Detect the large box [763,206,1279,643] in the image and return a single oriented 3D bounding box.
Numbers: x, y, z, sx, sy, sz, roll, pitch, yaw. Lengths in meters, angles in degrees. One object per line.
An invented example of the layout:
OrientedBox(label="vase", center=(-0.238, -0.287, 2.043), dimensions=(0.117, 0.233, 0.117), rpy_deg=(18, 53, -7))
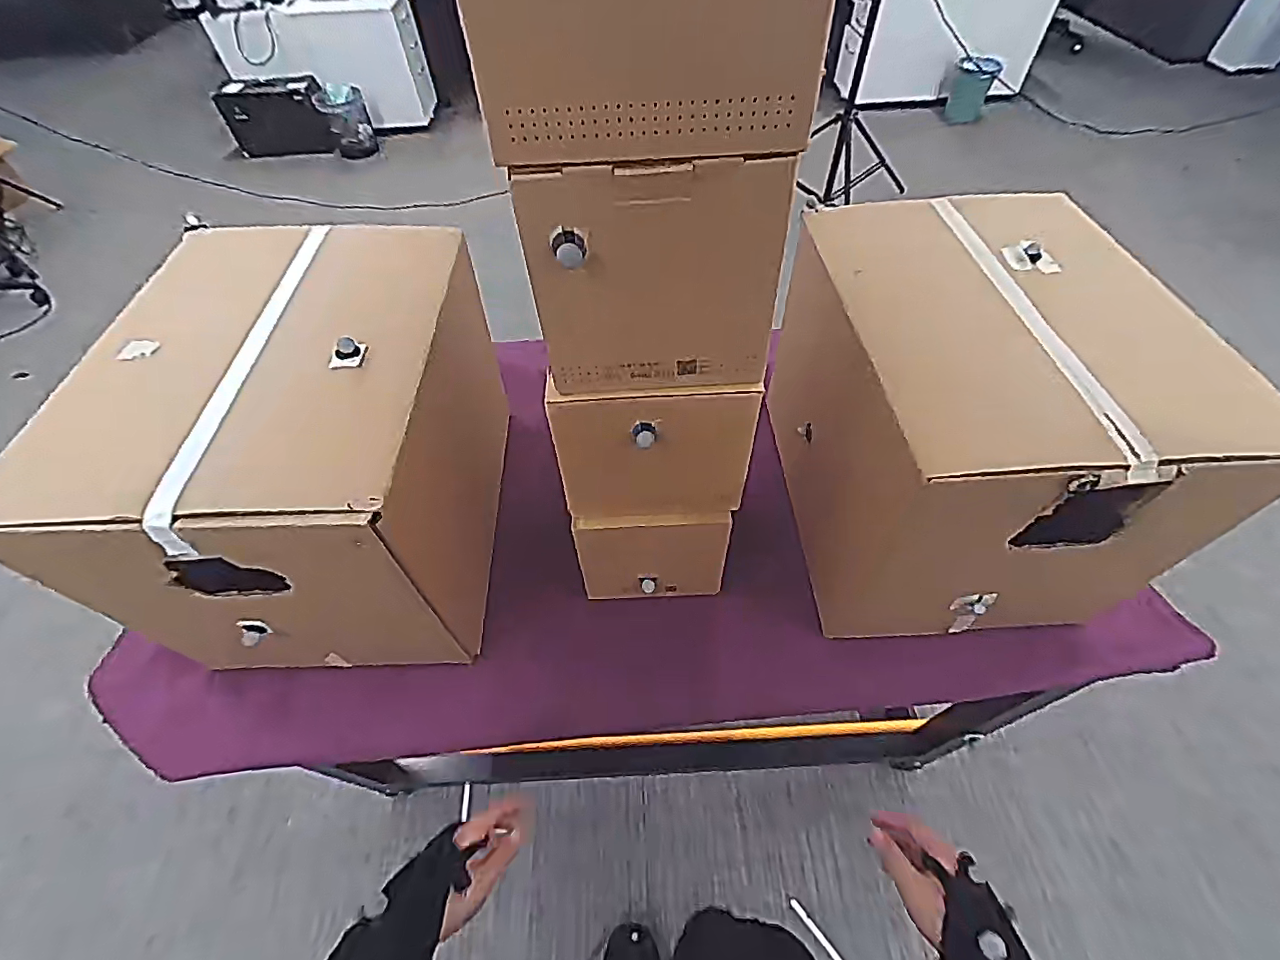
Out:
OrientedBox(label="large box", center=(0.350, -0.066, 0.637), dimensions=(0.320, 0.320, 0.408), rpy_deg=(-4, 51, -1))

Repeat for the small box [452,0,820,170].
OrientedBox(label="small box", center=(-0.001, -0.287, 0.286), dimensions=(0.179, 0.176, 0.168), rpy_deg=(-3, 51, 1))
